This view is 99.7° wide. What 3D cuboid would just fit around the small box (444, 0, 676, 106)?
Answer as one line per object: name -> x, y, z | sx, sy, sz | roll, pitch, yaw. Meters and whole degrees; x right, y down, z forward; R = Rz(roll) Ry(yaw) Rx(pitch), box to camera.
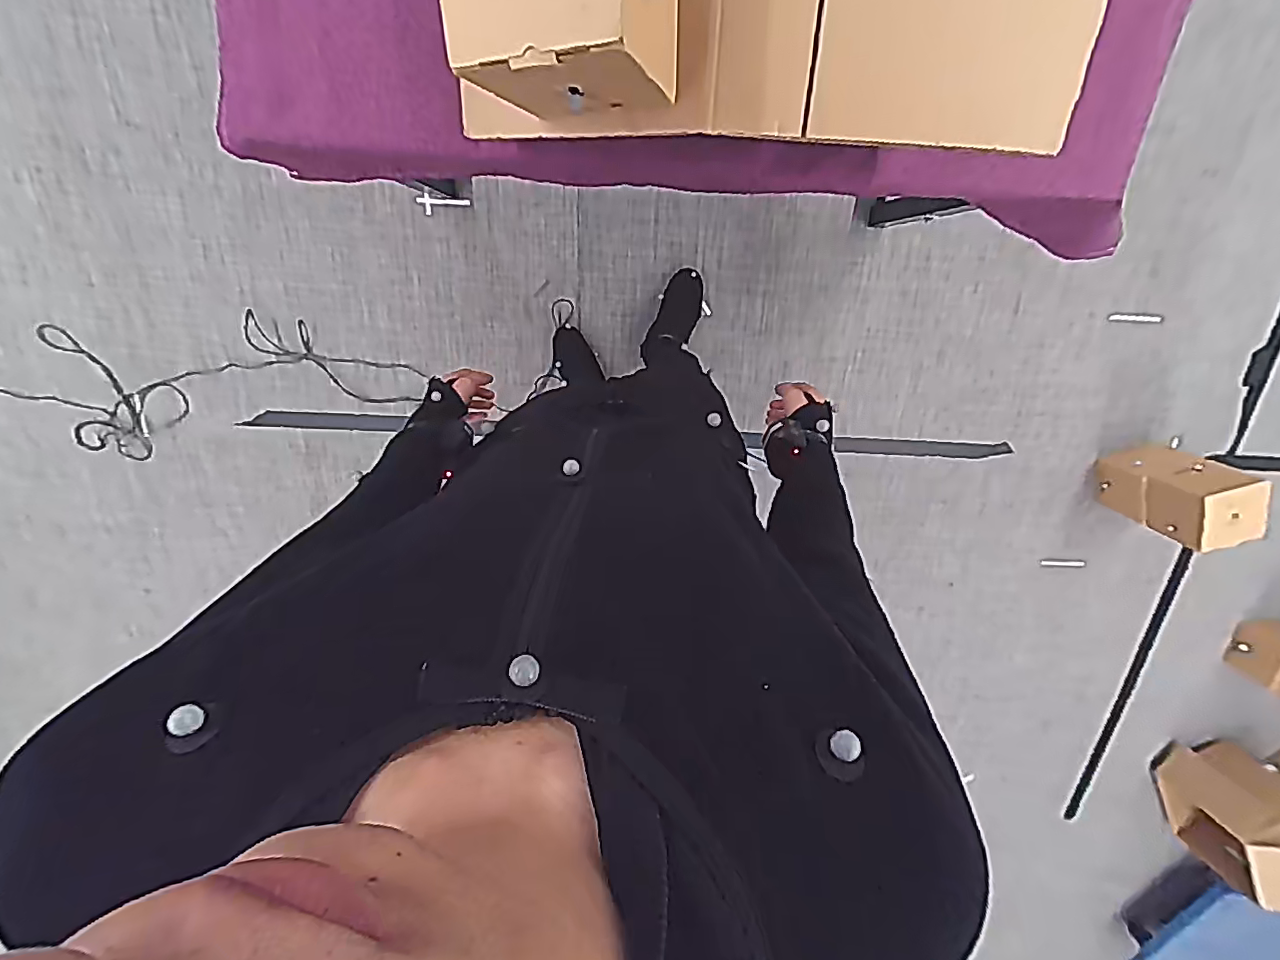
small box -> -0.064, -0.464, 0.495 | 0.168, 0.176, 0.179 | 6, 113, 17
